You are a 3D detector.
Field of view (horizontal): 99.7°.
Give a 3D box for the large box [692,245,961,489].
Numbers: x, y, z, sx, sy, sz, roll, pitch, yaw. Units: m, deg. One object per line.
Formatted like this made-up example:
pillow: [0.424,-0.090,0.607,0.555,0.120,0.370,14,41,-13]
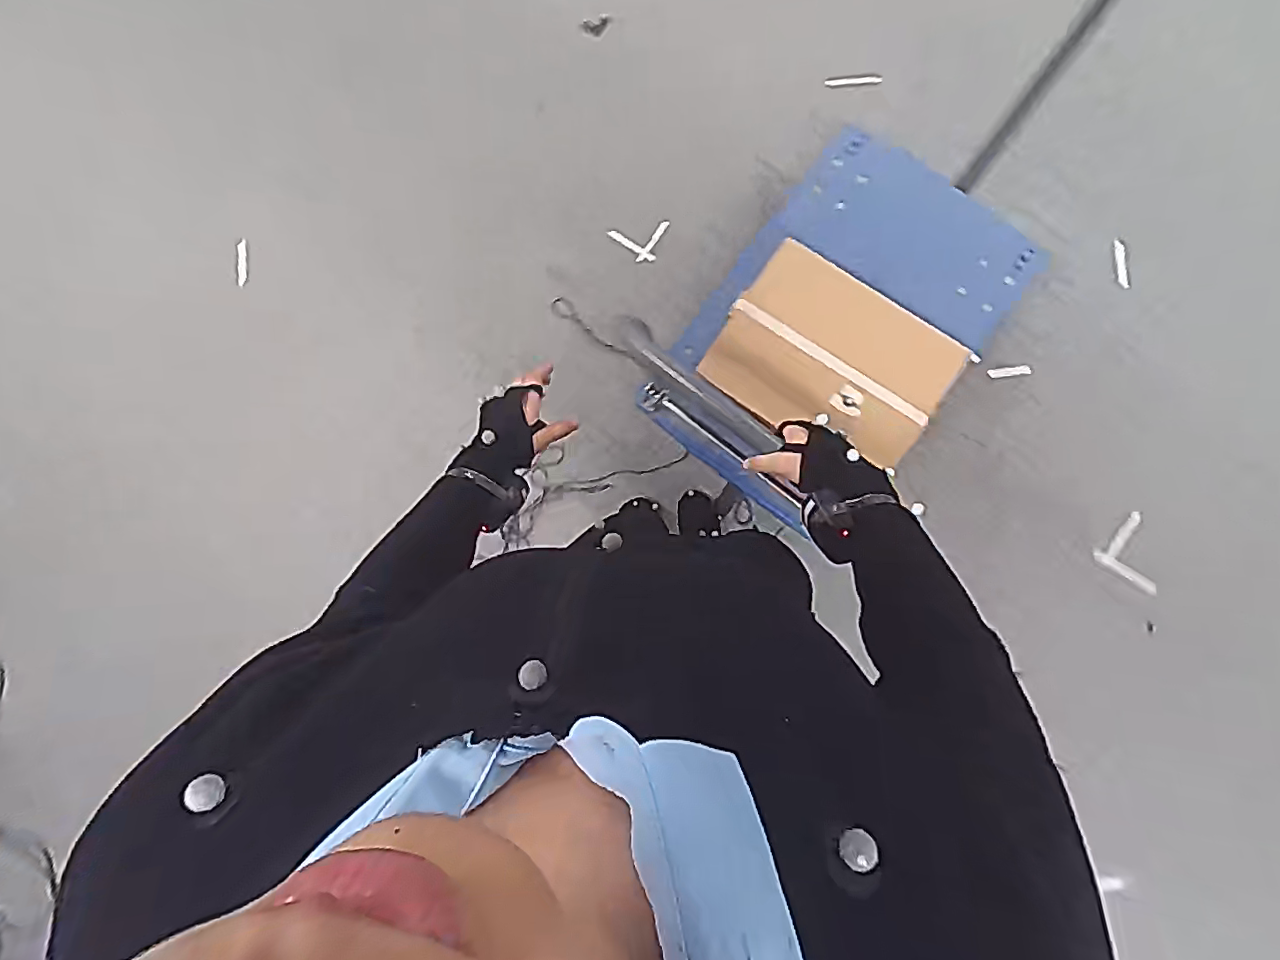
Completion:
large box: [0.361,-0.216,1.168,0.408,0.320,0.320,34,91,5]
